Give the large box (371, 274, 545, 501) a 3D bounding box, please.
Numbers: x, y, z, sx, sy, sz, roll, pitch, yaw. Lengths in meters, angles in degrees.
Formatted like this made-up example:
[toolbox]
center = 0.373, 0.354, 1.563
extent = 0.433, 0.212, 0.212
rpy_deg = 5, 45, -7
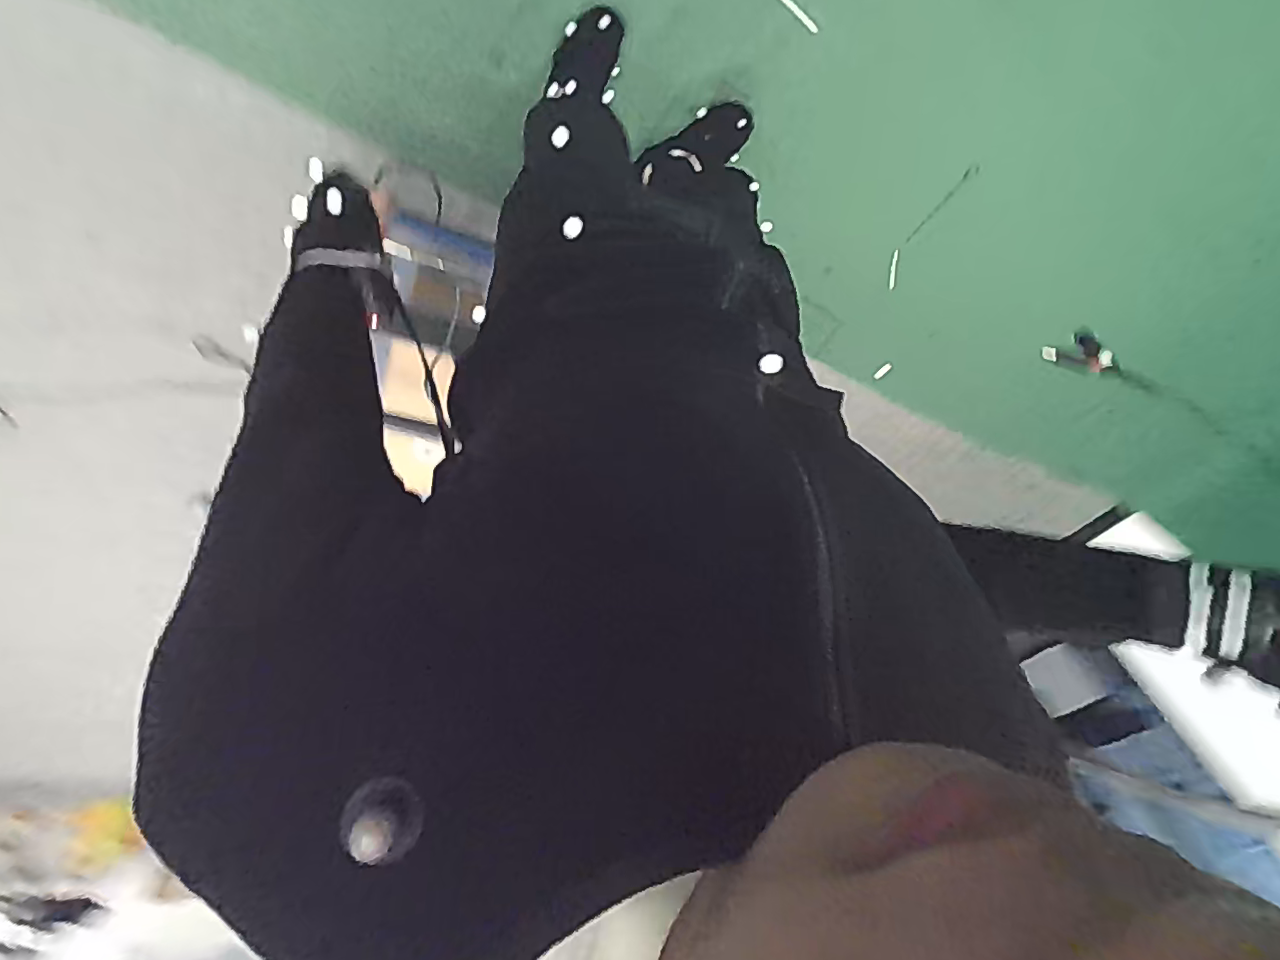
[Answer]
[large box]
center = -0.440, -0.212, 1.311
extent = 0.320, 0.320, 0.408
rpy_deg = 13, 131, -24
